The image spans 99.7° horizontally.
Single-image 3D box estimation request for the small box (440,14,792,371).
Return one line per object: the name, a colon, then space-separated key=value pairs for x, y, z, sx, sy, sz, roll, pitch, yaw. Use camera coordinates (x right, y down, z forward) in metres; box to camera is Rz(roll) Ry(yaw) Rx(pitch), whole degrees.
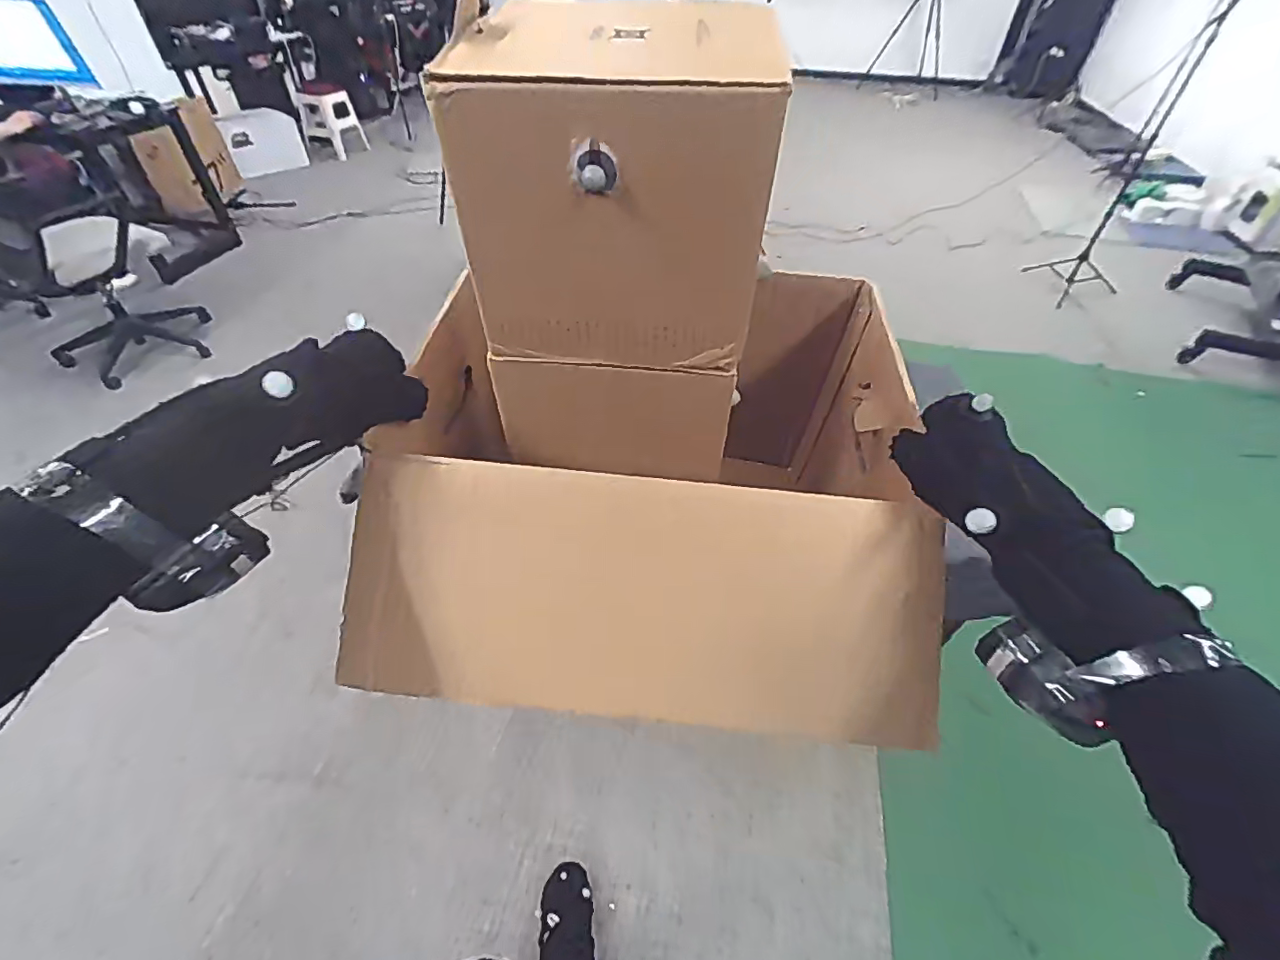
small box: x=-0.007 y=-0.192 z=0.371 sx=0.179 sy=0.176 sz=0.168 roll=4 pitch=52 yaw=2
